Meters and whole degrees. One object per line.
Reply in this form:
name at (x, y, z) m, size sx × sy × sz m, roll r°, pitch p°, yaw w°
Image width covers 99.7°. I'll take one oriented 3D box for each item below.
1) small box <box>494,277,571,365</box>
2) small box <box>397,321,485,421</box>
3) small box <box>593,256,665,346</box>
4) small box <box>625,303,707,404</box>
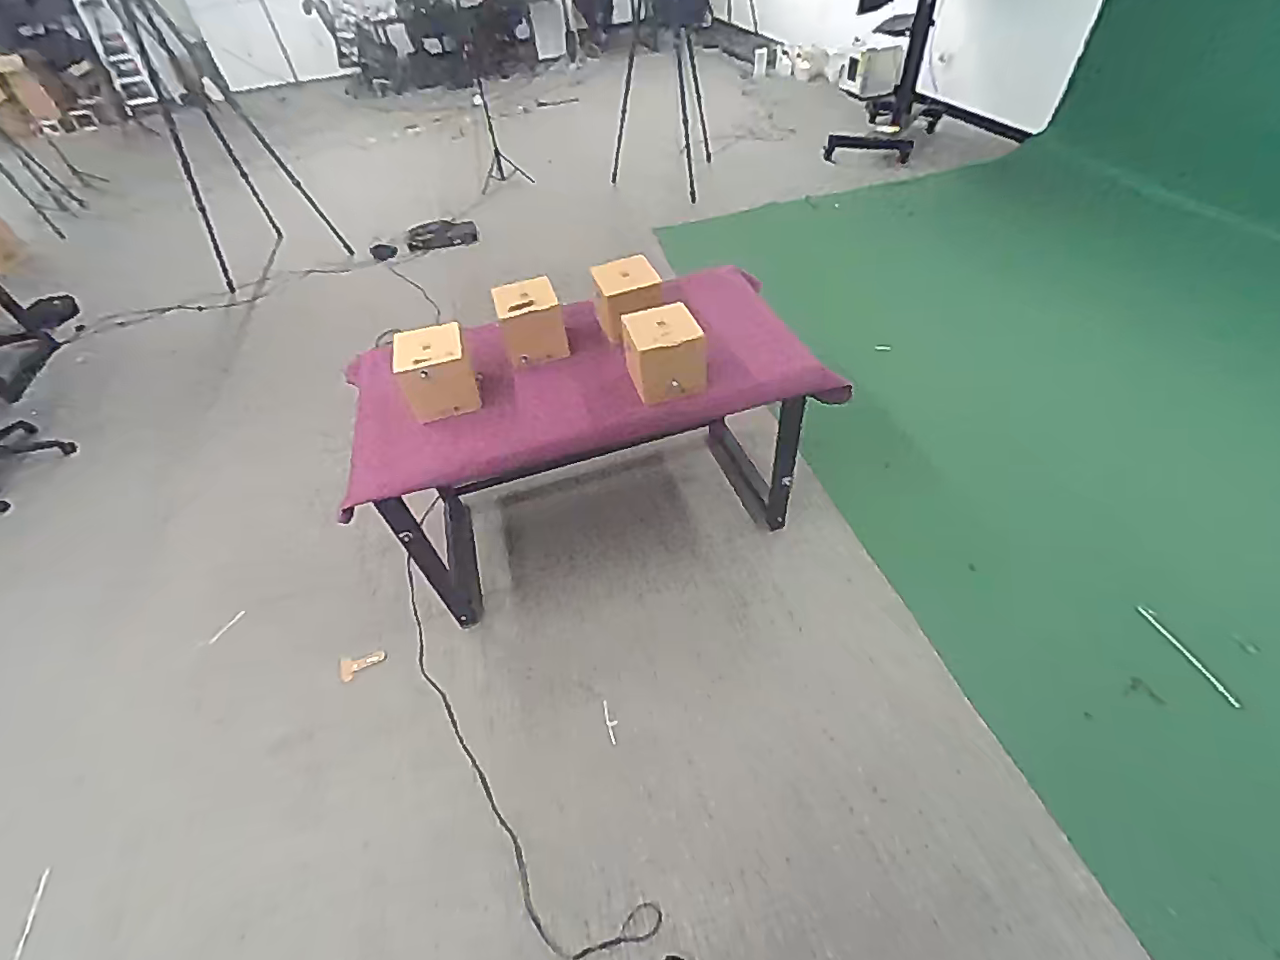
small box at (-0.301, -0.445, 1.537) m, size 0.168 × 0.176 × 0.179 m, roll -16°, pitch 48°, yaw -8°
small box at (-0.516, -0.283, 1.413) m, size 0.168 × 0.176 × 0.179 m, roll -16°, pitch 48°, yaw -6°
small box at (-0.029, -0.520, 1.574) m, size 0.168 × 0.176 × 0.179 m, roll -17°, pitch 50°, yaw -8°
small box at (0.065, -0.321, 1.381) m, size 0.168 × 0.176 × 0.179 m, roll -15°, pitch 47°, yaw -6°
